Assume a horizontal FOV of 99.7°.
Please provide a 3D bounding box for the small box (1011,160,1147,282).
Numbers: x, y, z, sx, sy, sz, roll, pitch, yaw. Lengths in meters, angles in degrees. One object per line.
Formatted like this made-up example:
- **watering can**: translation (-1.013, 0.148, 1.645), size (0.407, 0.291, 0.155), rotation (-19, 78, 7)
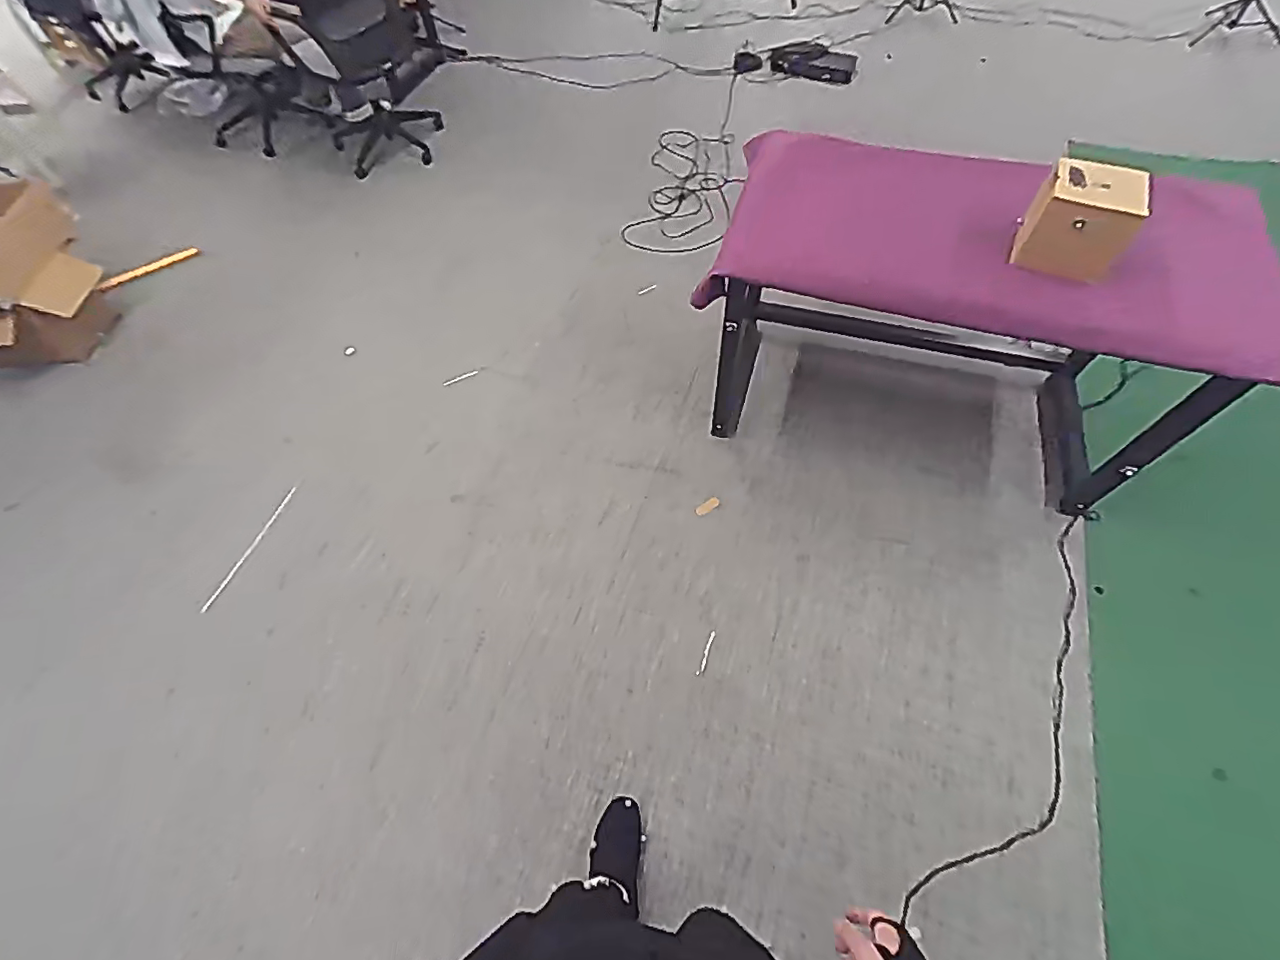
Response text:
- **small box**: translation (0.962, -0.568, 1.197), size (0.179, 0.176, 0.168), rotation (22, 63, 15)
